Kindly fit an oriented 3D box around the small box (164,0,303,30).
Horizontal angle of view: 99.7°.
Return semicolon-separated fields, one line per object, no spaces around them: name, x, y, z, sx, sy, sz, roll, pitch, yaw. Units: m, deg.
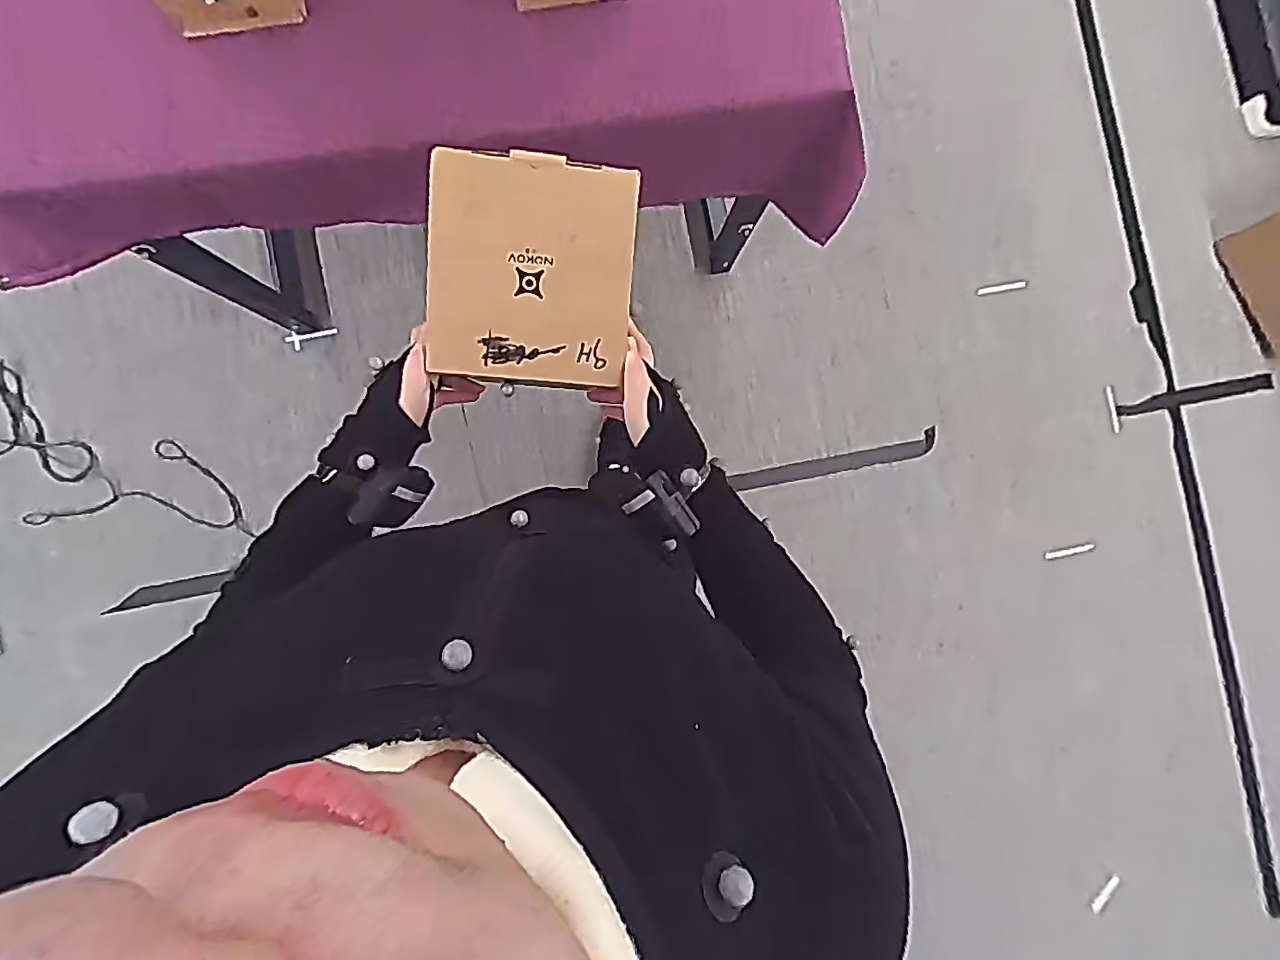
small box;-0.547;-0.706;0.655;0.168;0.176;0.179;-12;91;-5

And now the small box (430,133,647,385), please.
small box;-0.088;-0.189;0.516;0.168;0.176;0.179;4;98;-4
